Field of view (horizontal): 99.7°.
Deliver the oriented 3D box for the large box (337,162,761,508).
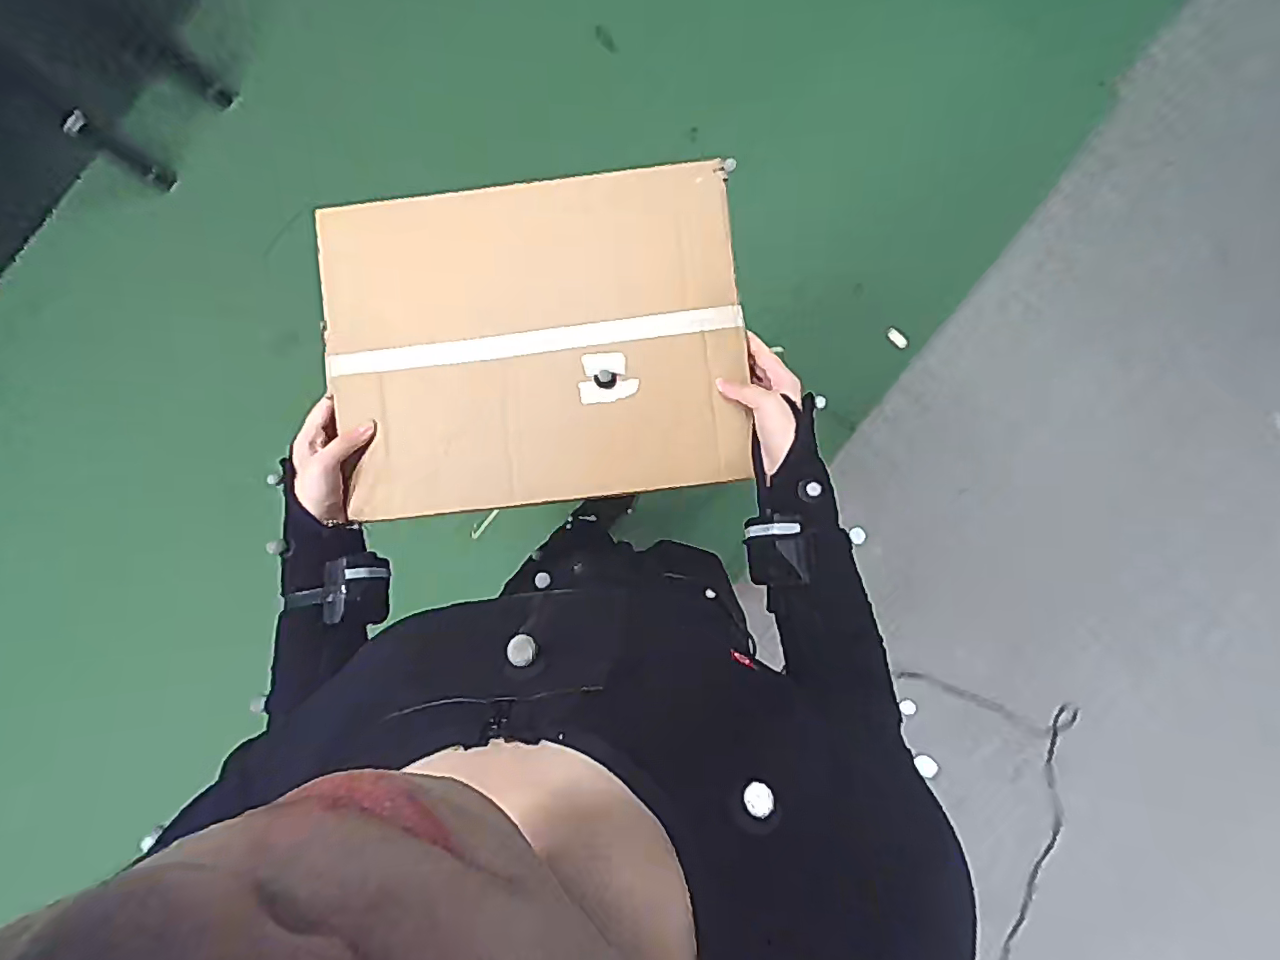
[{"bbox_3d":[-0.093,-0.140,0.683,0.408,0.320,0.320,-5,89,0],"label":"large box"}]
